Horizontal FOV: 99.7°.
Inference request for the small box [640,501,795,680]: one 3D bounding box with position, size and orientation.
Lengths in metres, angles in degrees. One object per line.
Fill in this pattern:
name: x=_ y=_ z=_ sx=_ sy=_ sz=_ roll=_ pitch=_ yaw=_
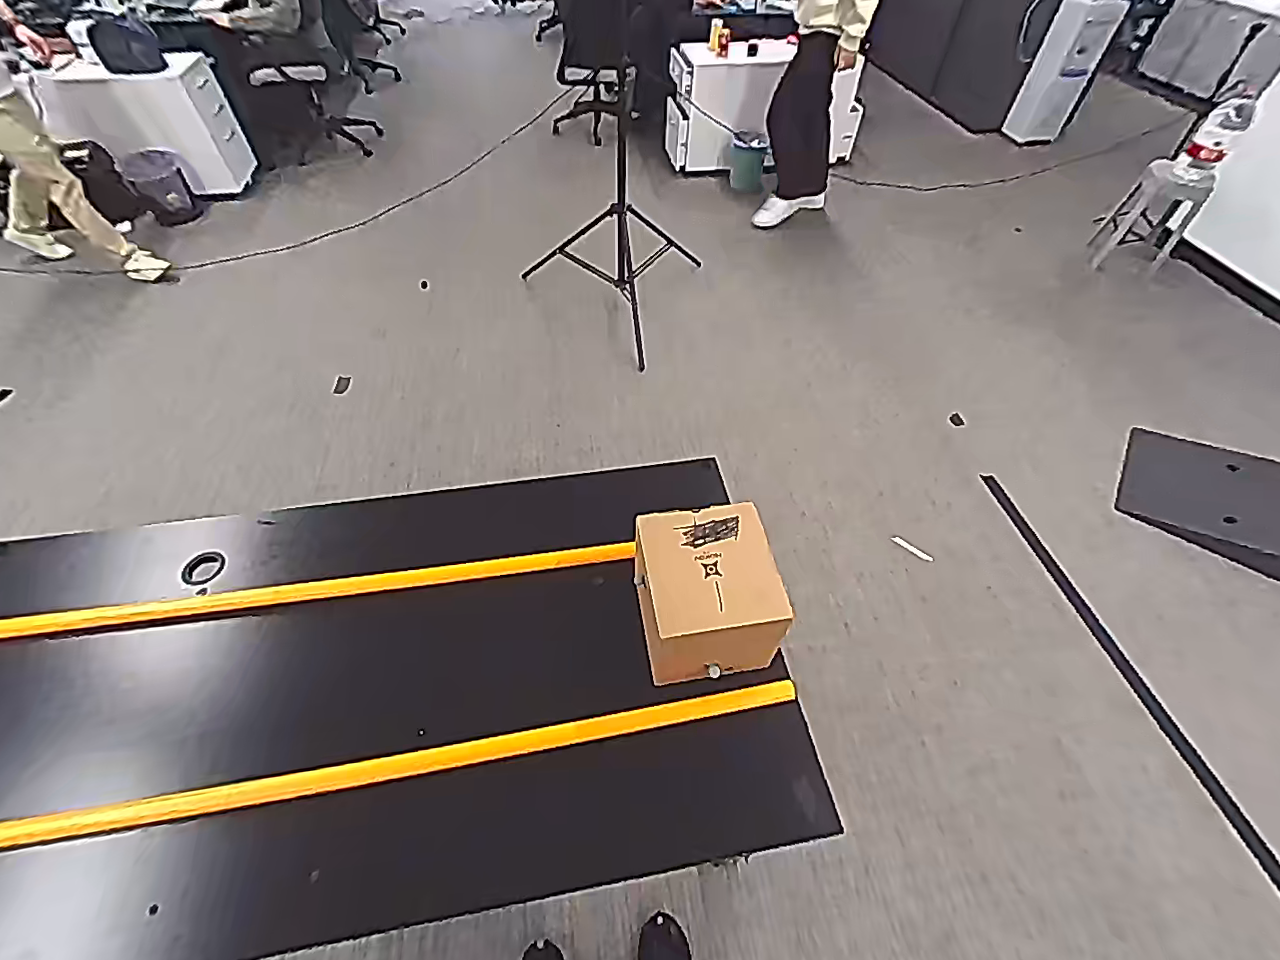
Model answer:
small box: x=0.092 y=0.154 z=0.750 sx=0.168 sy=0.176 sz=0.179 roll=-7 pitch=52 yaw=-6
